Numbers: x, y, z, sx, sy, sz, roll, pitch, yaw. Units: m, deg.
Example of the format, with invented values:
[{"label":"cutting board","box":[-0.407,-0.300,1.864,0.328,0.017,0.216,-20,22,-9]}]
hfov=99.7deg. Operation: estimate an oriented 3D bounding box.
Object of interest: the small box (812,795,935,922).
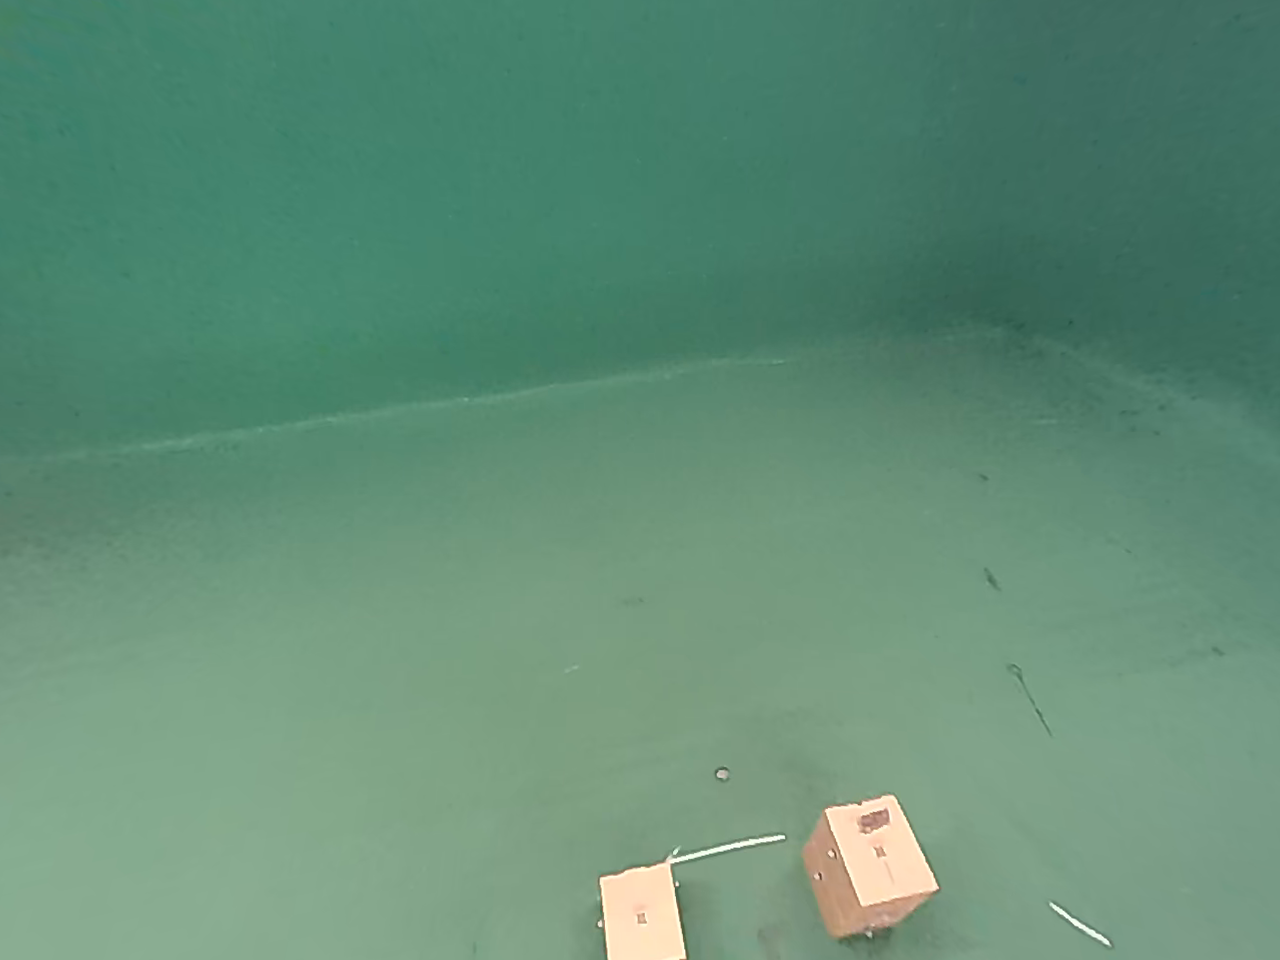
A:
[{"label":"small box","box":[0.492,0.820,1.174,0.168,0.176,0.179,-8,42,-6]}]

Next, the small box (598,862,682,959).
[{"label":"small box","box":[0.000,1.012,1.235,0.168,0.176,0.179,-8,41,-6]}]

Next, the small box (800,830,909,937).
[{"label":"small box","box":[0.496,0.945,1.282,0.168,0.176,0.179,-7,41,-5]}]
